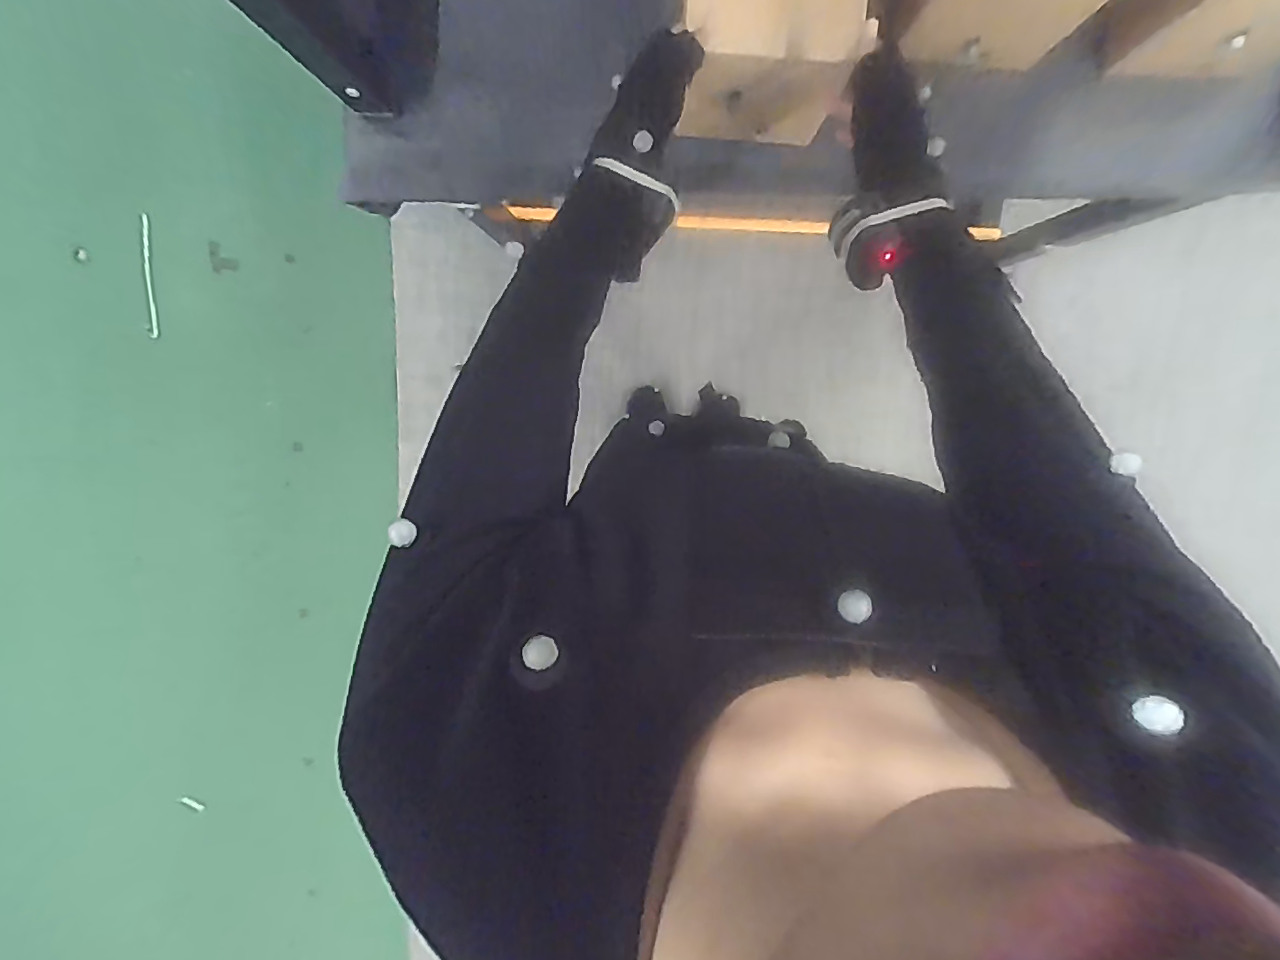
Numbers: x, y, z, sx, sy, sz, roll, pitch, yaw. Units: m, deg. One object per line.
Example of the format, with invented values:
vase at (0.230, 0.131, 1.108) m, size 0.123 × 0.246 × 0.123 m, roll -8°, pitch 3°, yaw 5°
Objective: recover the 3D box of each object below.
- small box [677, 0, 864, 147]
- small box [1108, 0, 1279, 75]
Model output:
small box at (0.129, -0.484, 0.572) m, size 0.168 × 0.176 × 0.179 m, roll 4°, pitch 97°, yaw 1°
small box at (0.627, -0.546, 0.544) m, size 0.168 × 0.176 × 0.179 m, roll 3°, pitch 99°, yaw 1°
